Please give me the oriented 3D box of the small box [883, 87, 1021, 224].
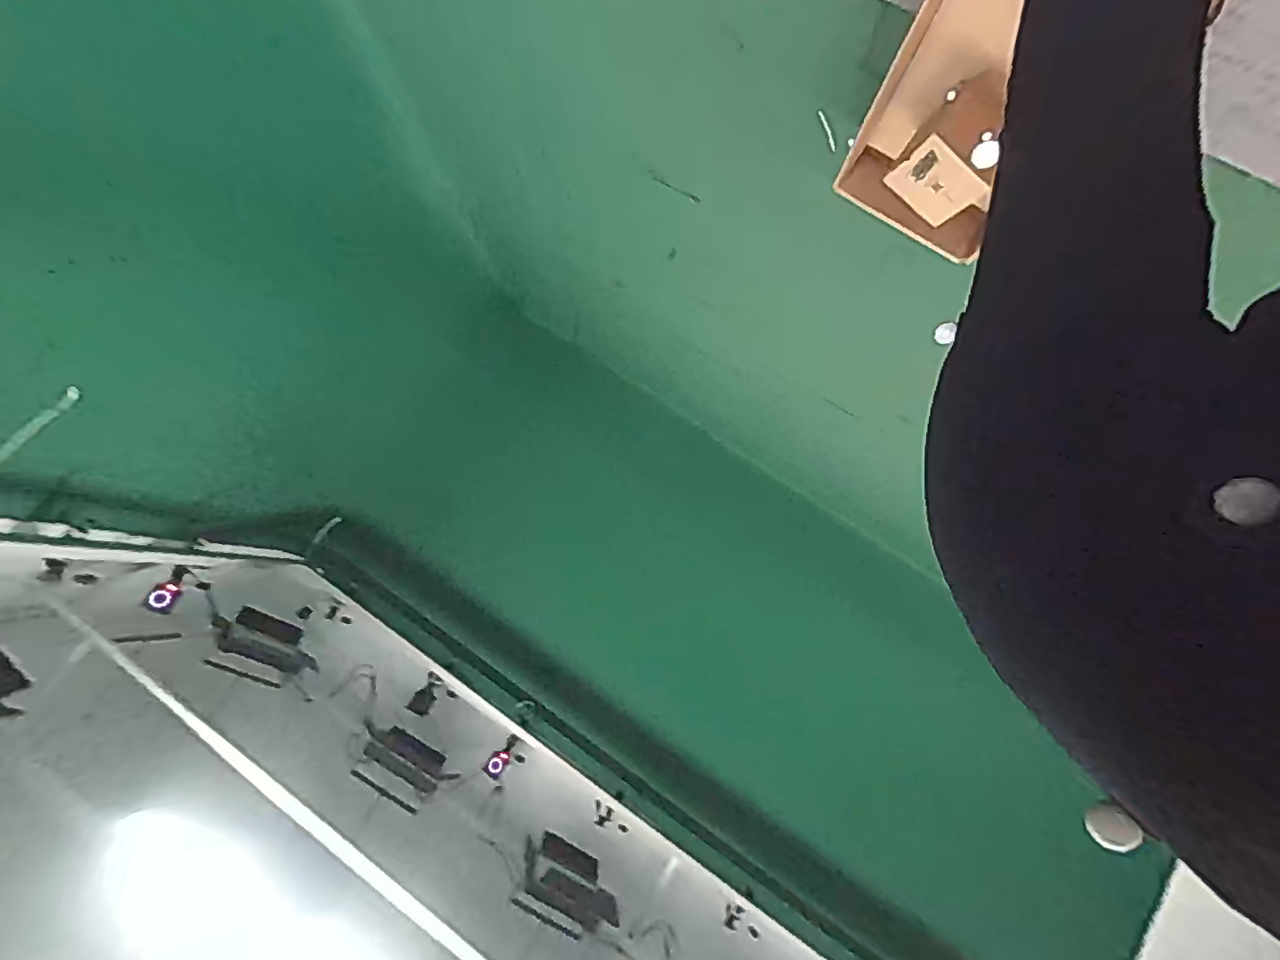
[{"bbox_3d":[0.696,-0.729,1.213,0.179,0.176,0.168,37,170,-9],"label":"small box"}]
